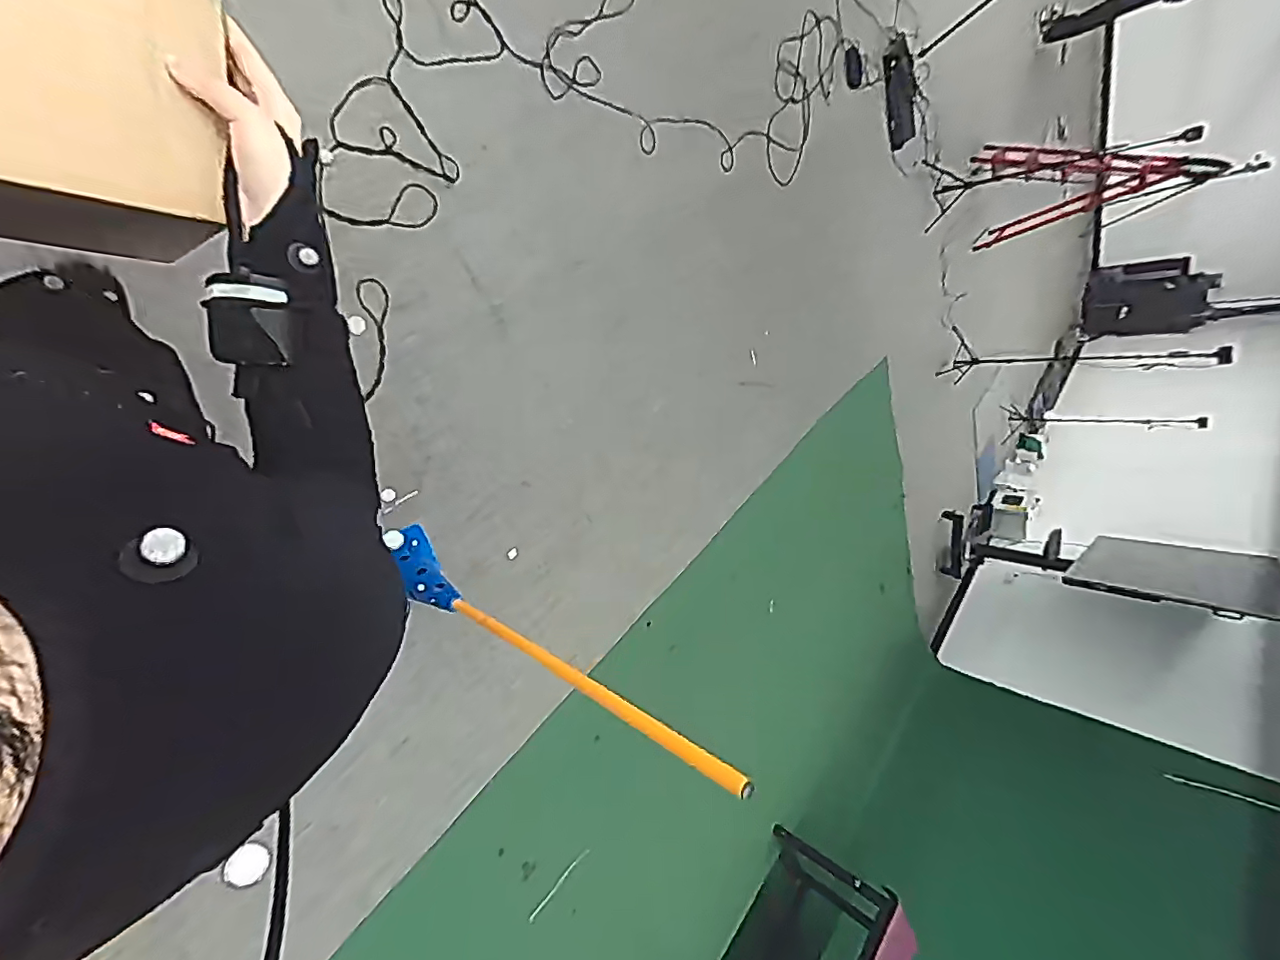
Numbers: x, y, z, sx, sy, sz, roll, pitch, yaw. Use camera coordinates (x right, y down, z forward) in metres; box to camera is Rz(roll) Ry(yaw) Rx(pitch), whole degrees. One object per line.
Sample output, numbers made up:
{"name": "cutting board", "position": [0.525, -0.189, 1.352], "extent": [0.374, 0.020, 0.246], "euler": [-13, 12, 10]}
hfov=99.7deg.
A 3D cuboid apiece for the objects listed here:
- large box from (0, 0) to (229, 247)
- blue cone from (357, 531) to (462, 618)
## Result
{"name": "large box", "position": [-0.545, -0.358, 0.328], "extent": [0.408, 0.320, 0.320], "euler": [-8, 107, -48]}
{"name": "blue cone", "position": [-0.572, 0.278, 1.417], "extent": [0.193, 0.380, 0.192], "euler": [-32, 119, -36]}
